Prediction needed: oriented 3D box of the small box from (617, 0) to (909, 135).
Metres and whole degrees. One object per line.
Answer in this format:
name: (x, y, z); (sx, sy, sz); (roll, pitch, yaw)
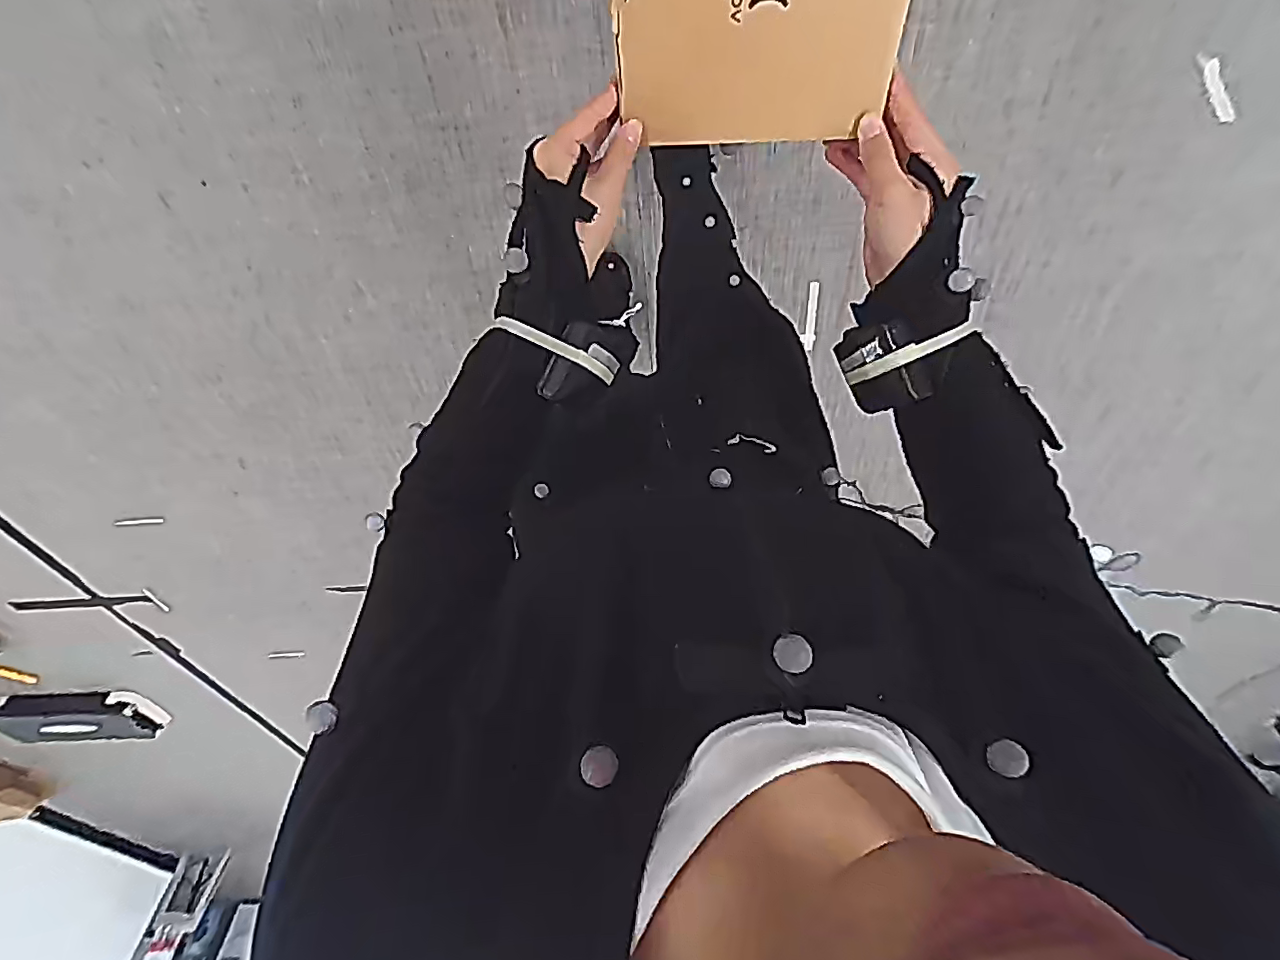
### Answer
small box: (0.074, -0.352, 0.365); (0.179, 0.176, 0.168); (0, 136, 3)
